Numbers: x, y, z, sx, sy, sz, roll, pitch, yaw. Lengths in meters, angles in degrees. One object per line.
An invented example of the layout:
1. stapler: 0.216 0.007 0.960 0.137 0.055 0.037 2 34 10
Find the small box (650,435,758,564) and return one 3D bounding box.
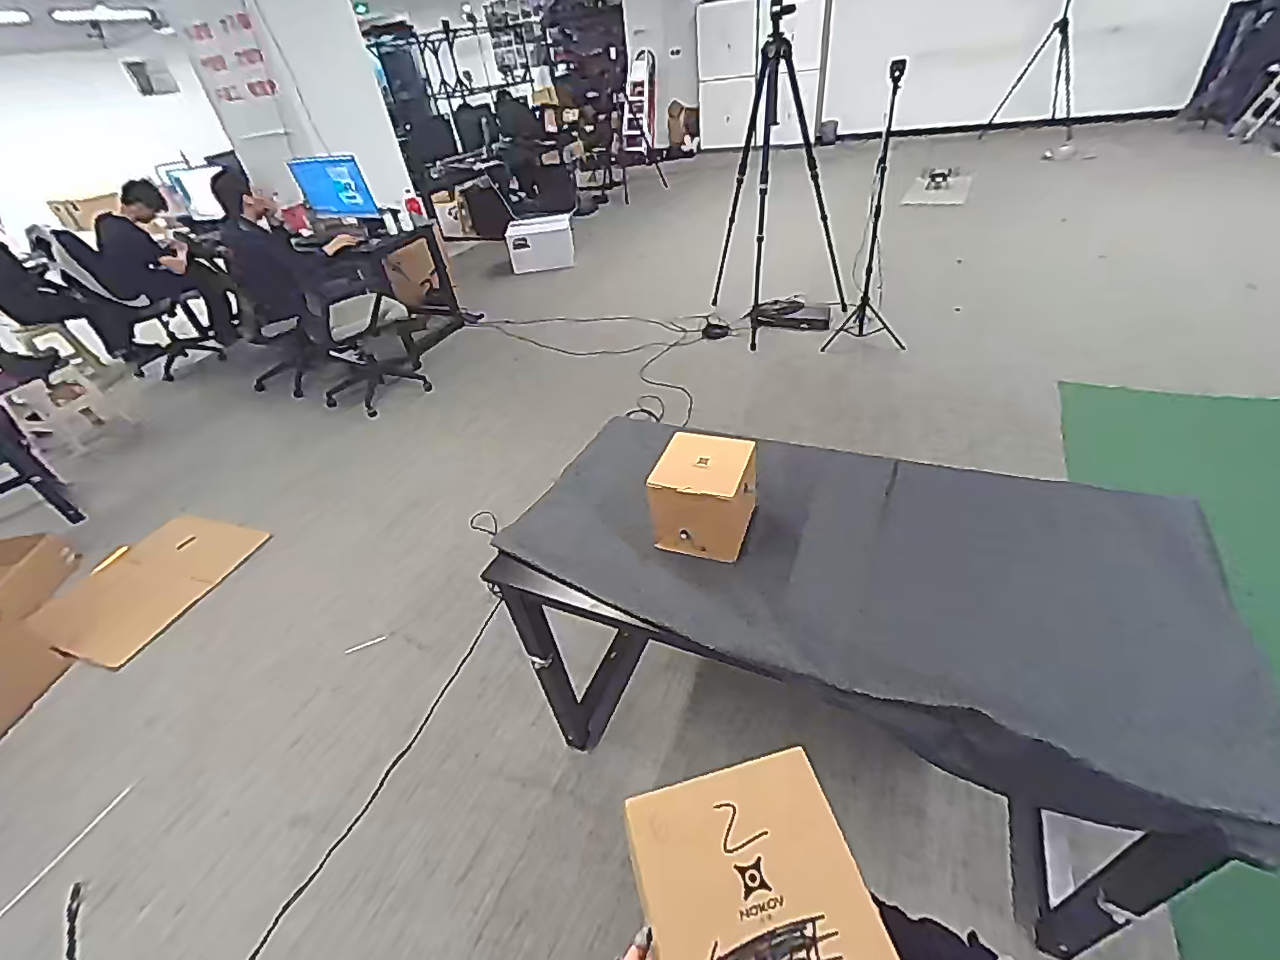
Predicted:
1. small box: 0.131 0.037 1.075 0.168 0.176 0.179 10 42 21
